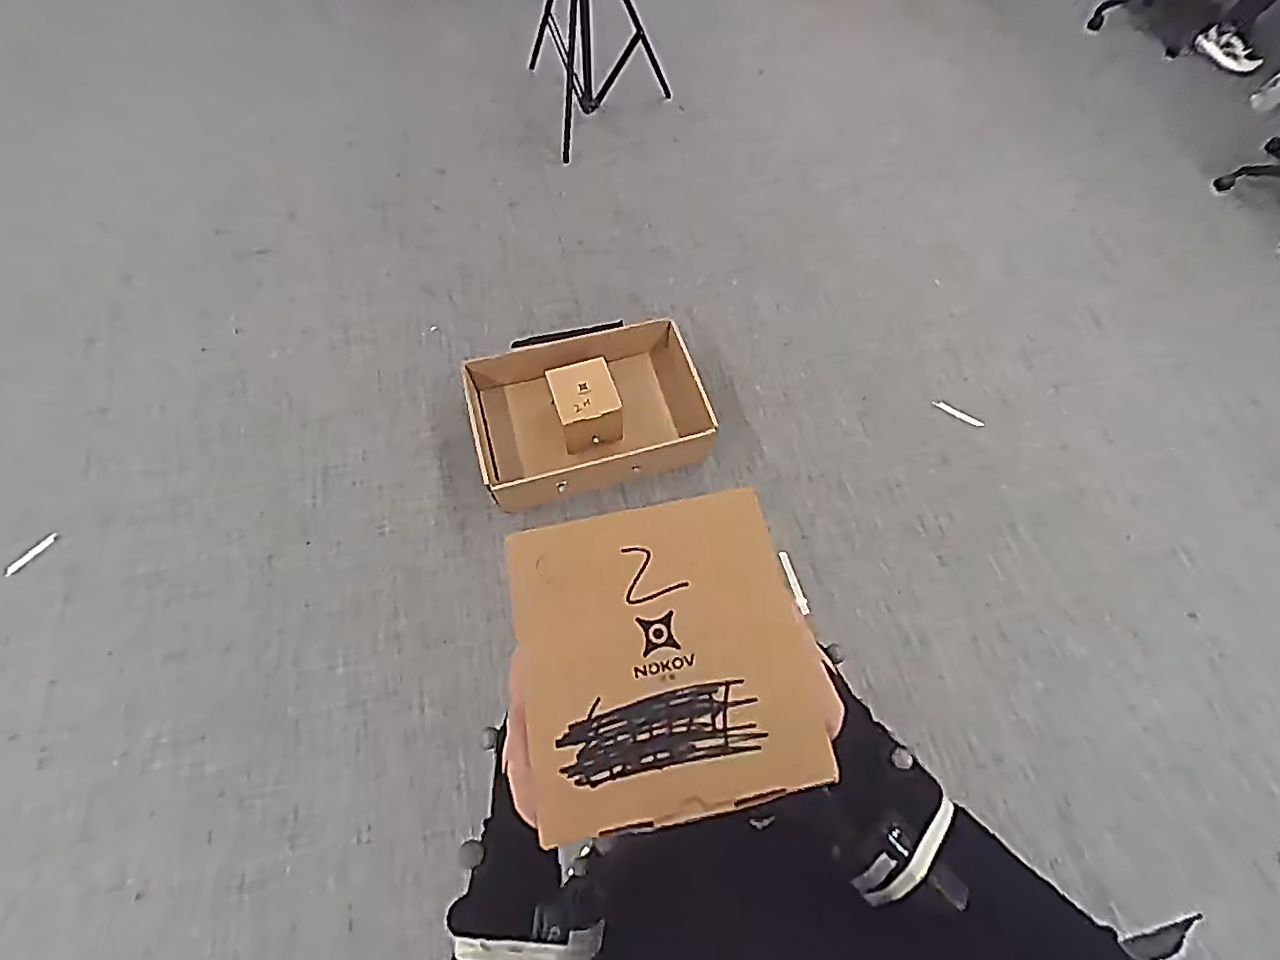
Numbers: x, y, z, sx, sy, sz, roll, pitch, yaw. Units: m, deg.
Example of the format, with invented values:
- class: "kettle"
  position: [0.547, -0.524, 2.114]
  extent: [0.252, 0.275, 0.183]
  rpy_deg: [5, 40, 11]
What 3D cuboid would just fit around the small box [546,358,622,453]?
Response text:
- class: "small box"
  position: [-0.154, -0.203, 1.495]
  extent: [0.168, 0.176, 0.179]
  rpy_deg: [-17, 68, -10]
